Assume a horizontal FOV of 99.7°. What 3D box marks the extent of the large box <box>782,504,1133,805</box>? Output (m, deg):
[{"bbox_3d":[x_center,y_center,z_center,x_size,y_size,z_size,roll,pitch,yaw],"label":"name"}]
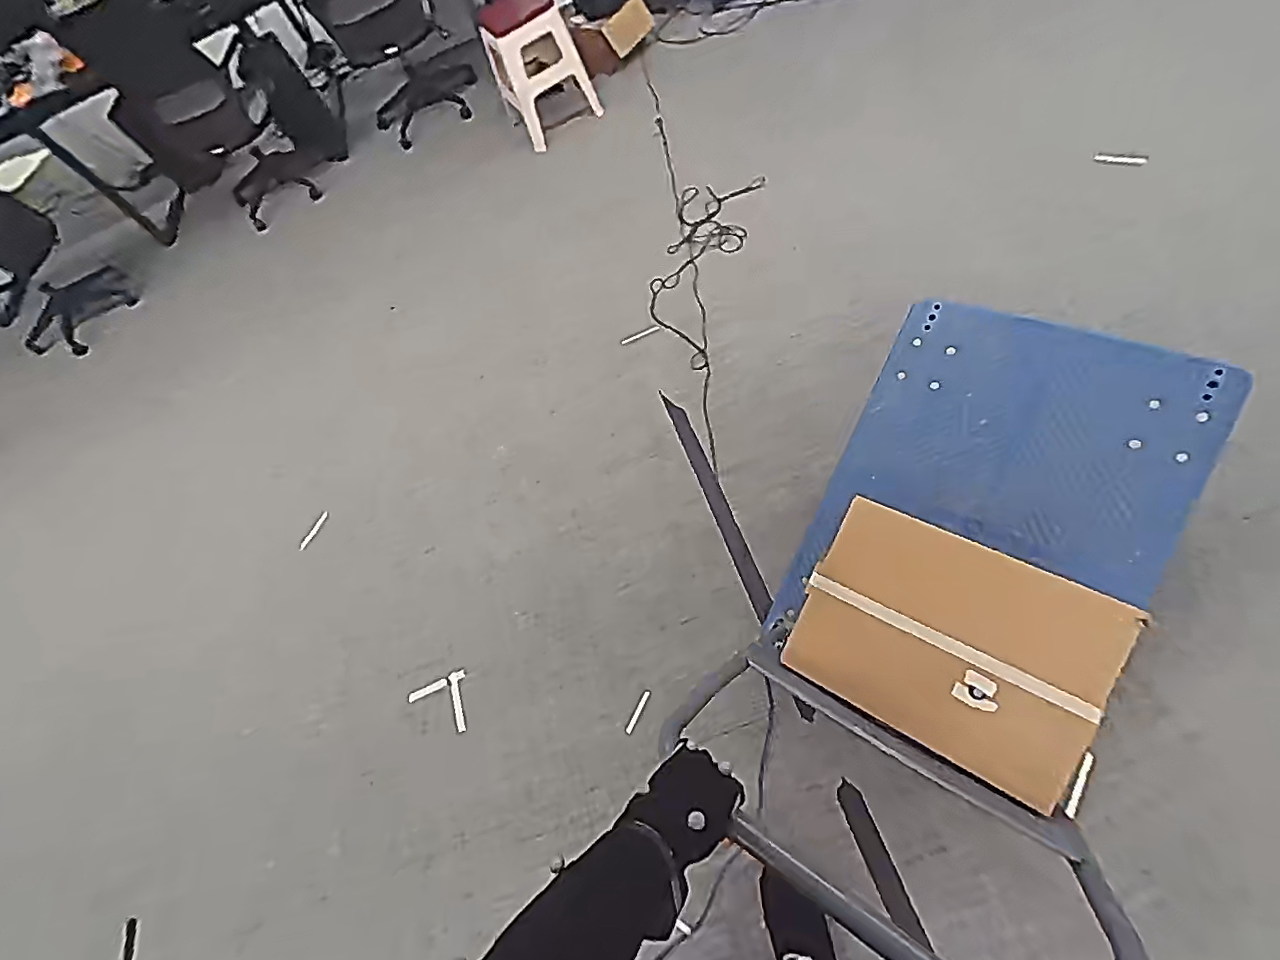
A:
[{"bbox_3d":[0.522,0.271,0.972,0.408,0.320,0.320,25,93,26],"label":"large box"}]
